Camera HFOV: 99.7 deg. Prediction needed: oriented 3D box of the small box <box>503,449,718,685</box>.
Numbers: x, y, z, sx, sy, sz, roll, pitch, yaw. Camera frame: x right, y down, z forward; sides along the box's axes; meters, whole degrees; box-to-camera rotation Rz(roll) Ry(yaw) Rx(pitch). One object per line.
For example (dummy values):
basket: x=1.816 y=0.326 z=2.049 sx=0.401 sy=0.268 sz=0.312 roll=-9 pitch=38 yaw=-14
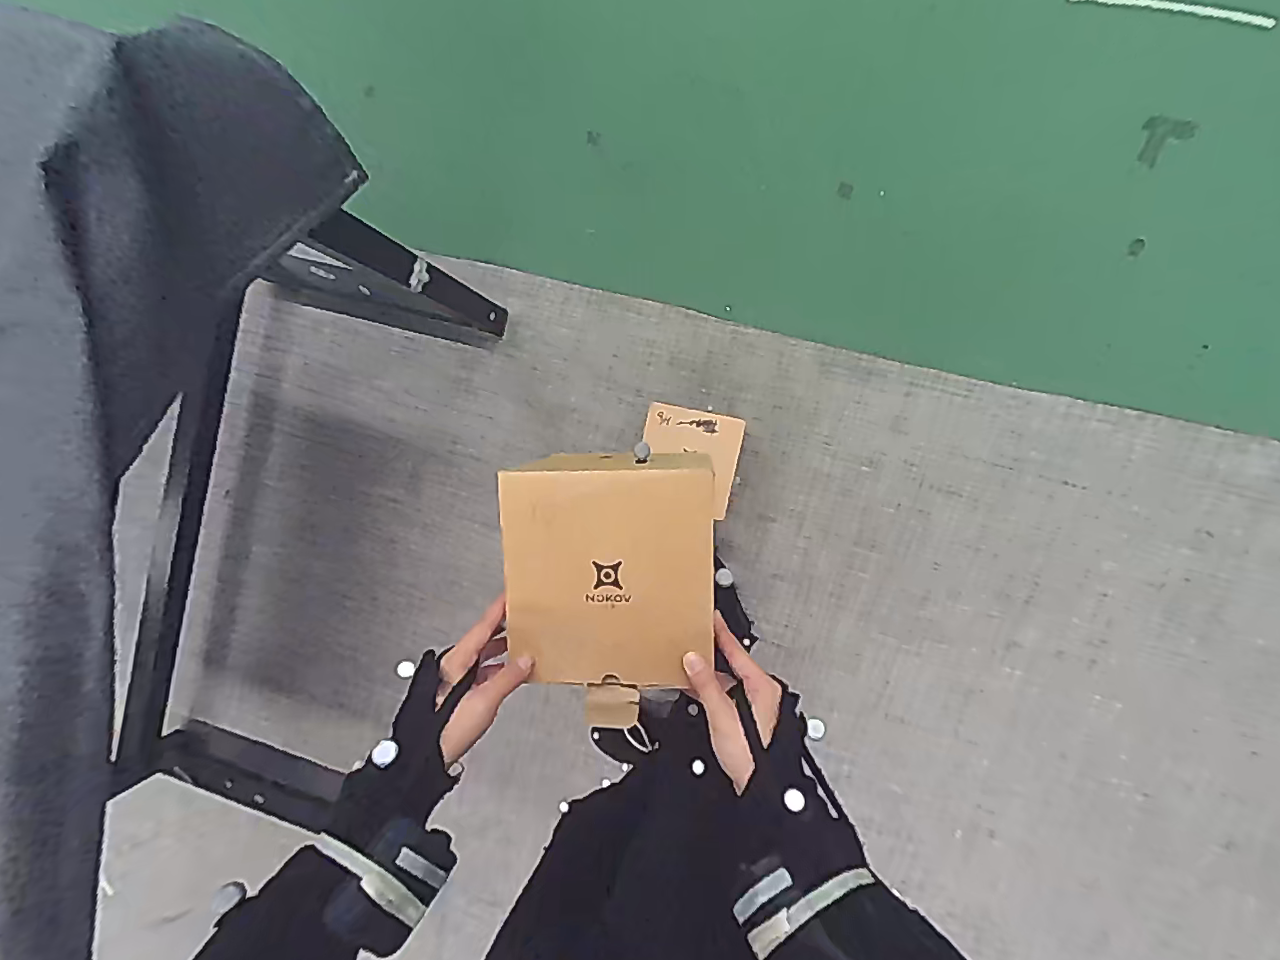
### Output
small box: x=-0.017 y=0.063 z=0.494 sx=0.168 sy=0.176 sz=0.179 roll=0 pitch=98 yaw=6
